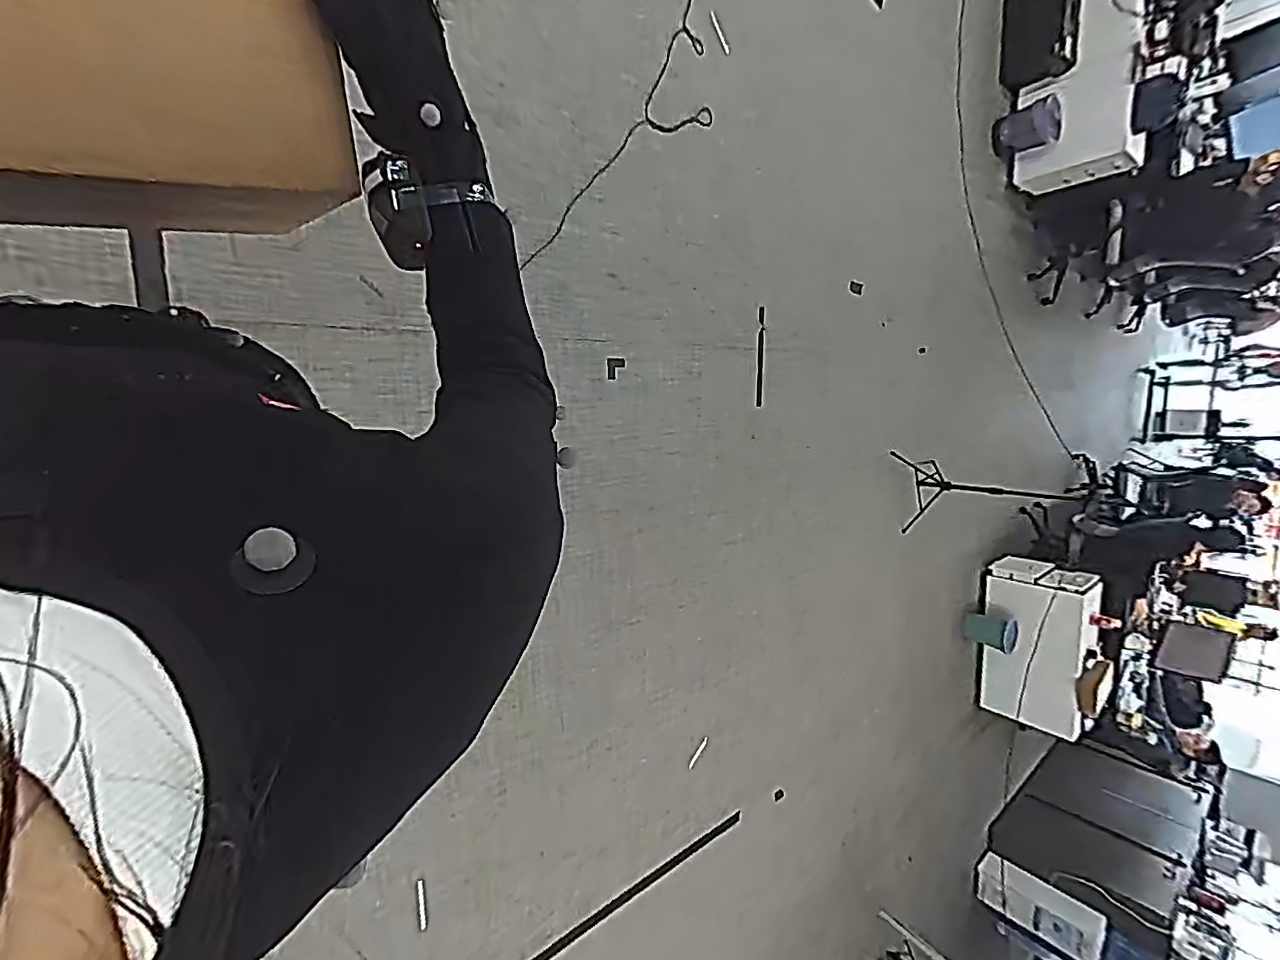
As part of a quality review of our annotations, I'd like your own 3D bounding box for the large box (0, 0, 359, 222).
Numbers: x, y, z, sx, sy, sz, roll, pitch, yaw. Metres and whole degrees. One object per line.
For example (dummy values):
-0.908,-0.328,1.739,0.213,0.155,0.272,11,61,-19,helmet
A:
-0.458,-0.345,0.332,0.408,0.320,0.320,-18,117,-38,large box
